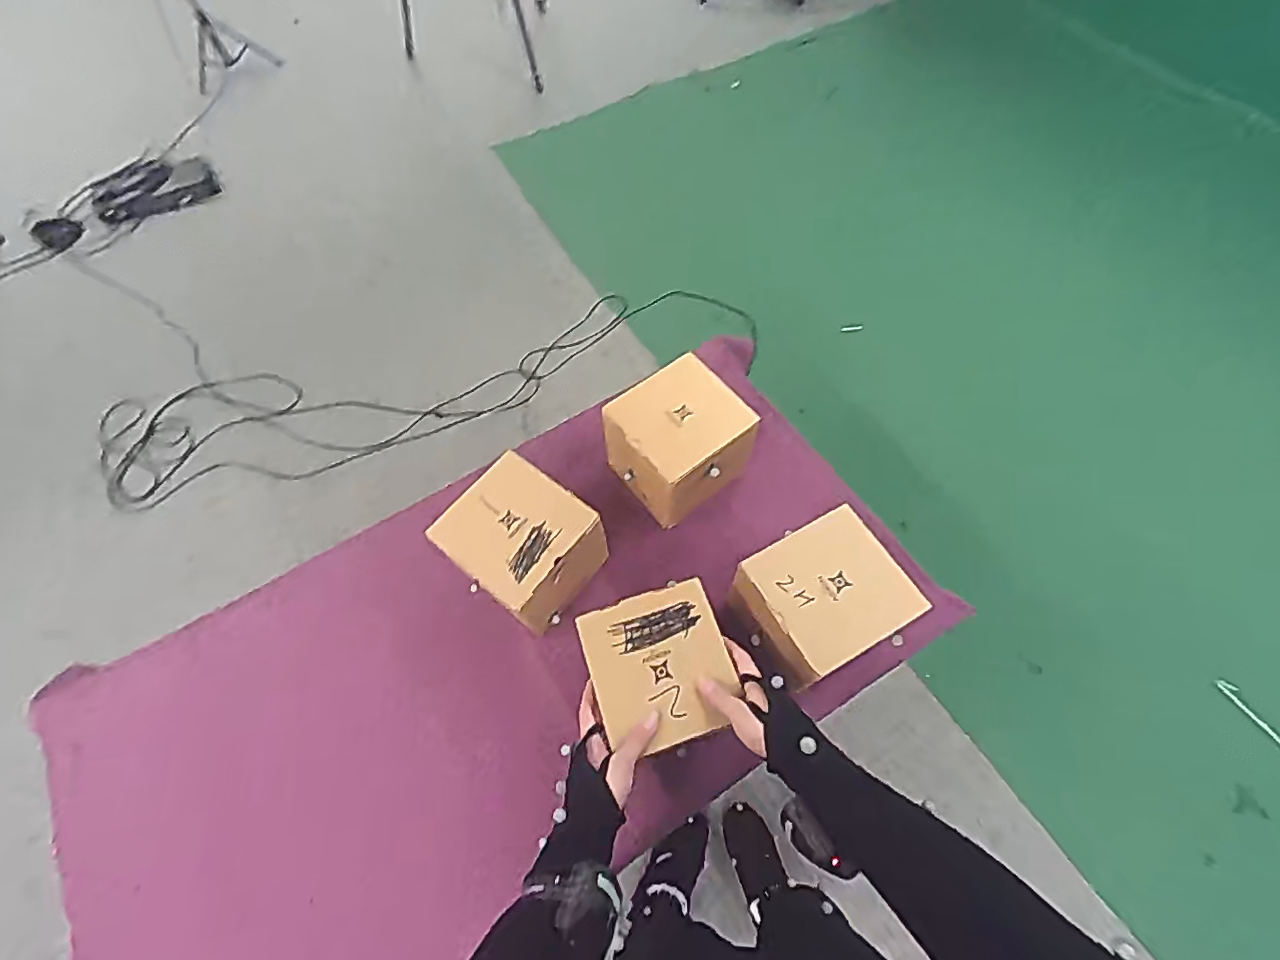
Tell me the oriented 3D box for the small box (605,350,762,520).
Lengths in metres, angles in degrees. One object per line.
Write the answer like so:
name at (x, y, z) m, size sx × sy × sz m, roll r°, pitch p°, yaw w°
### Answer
small box at (0.064, -0.066, 0.866) m, size 0.179 × 0.176 × 0.168 m, roll -36°, pitch 68°, yaw -13°

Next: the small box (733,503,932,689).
small box at (0.245, 0.164, 0.741) m, size 0.179 × 0.176 × 0.168 m, roll -27°, pitch 64°, yaw -10°

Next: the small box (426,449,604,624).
small box at (-0.168, 0.092, 0.794) m, size 0.179 × 0.176 × 0.168 m, roll 35°, pitch 70°, yaw 17°
